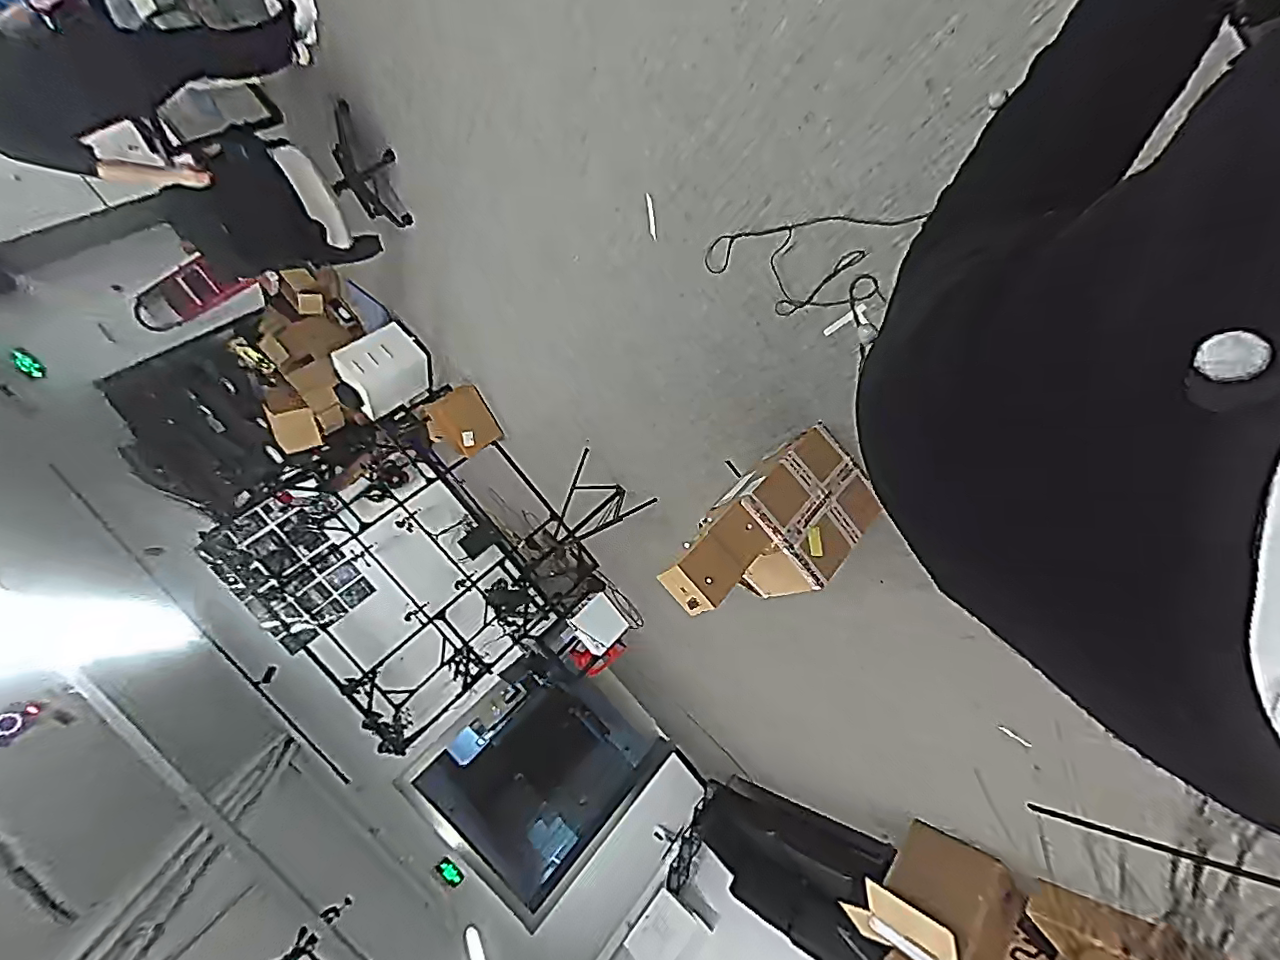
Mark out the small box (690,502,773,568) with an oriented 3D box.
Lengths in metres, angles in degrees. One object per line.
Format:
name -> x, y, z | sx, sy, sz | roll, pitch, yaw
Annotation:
small box -> 0.308, 0.194, 1.815 | 0.179, 0.176, 0.168 | 48, 149, 2

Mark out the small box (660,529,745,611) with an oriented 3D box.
small box -> 0.203, 0.288, 1.727 | 0.179, 0.176, 0.168 | 48, 149, 2
